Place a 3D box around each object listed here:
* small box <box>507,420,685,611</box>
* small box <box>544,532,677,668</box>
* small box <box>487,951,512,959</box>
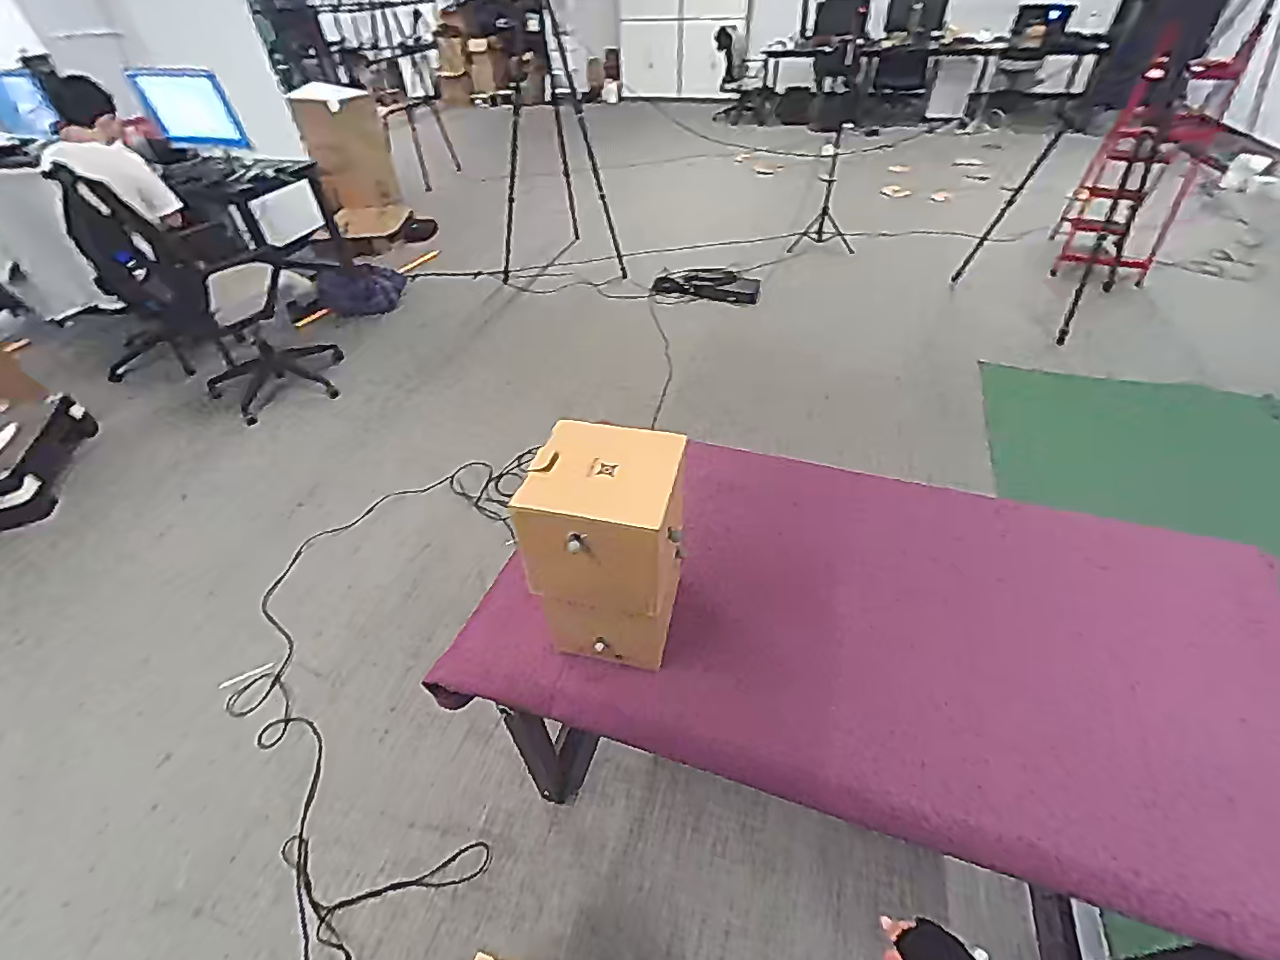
[{"bbox_3d":[-0.045,0.047,0.700,0.179,0.176,0.168,9,45,11],"label":"small box"},{"bbox_3d":[-0.042,0.154,0.825,0.168,0.176,0.179,9,44,11],"label":"small box"},{"bbox_3d":[-0.232,1.010,0.986,0.168,0.176,0.179,13,47,15],"label":"small box"}]
